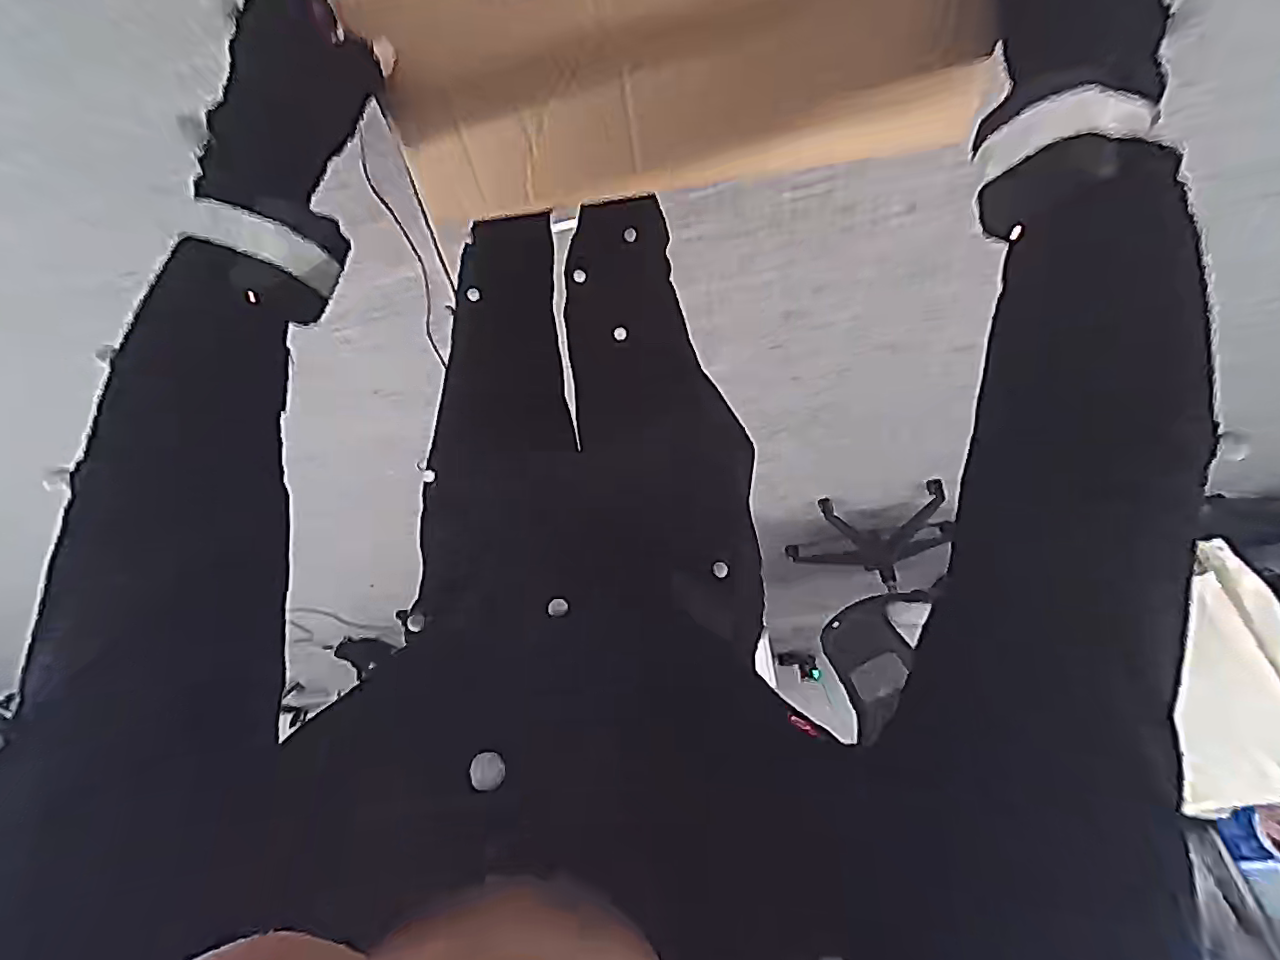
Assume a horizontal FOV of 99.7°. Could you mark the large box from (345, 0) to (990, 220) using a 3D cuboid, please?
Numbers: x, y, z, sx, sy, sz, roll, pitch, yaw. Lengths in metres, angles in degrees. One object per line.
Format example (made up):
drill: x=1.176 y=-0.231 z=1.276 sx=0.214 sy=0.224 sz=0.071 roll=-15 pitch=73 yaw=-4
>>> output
large box: x=0.011 y=-0.443 z=0.385 sx=0.408 sy=0.320 sz=0.320 roll=-6 pitch=144 yaw=6
